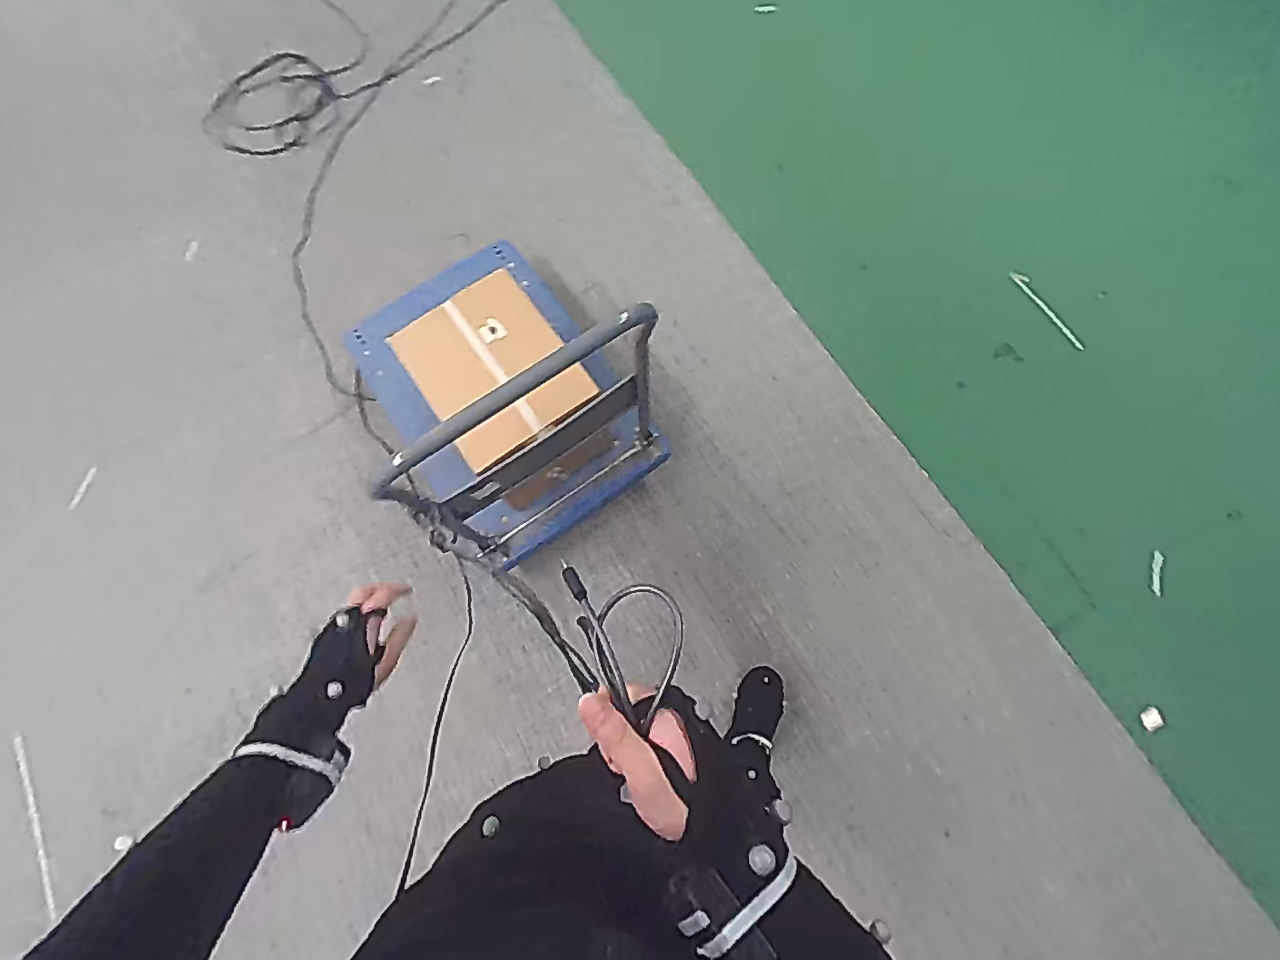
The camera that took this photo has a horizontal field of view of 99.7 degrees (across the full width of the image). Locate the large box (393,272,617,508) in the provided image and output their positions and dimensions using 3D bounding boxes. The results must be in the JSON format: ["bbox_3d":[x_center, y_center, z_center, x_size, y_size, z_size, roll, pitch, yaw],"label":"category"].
[{"bbox_3d":[-0.305,-0.203,1.318,0.320,0.320,0.408,-35,73,-8],"label":"large box"}]
